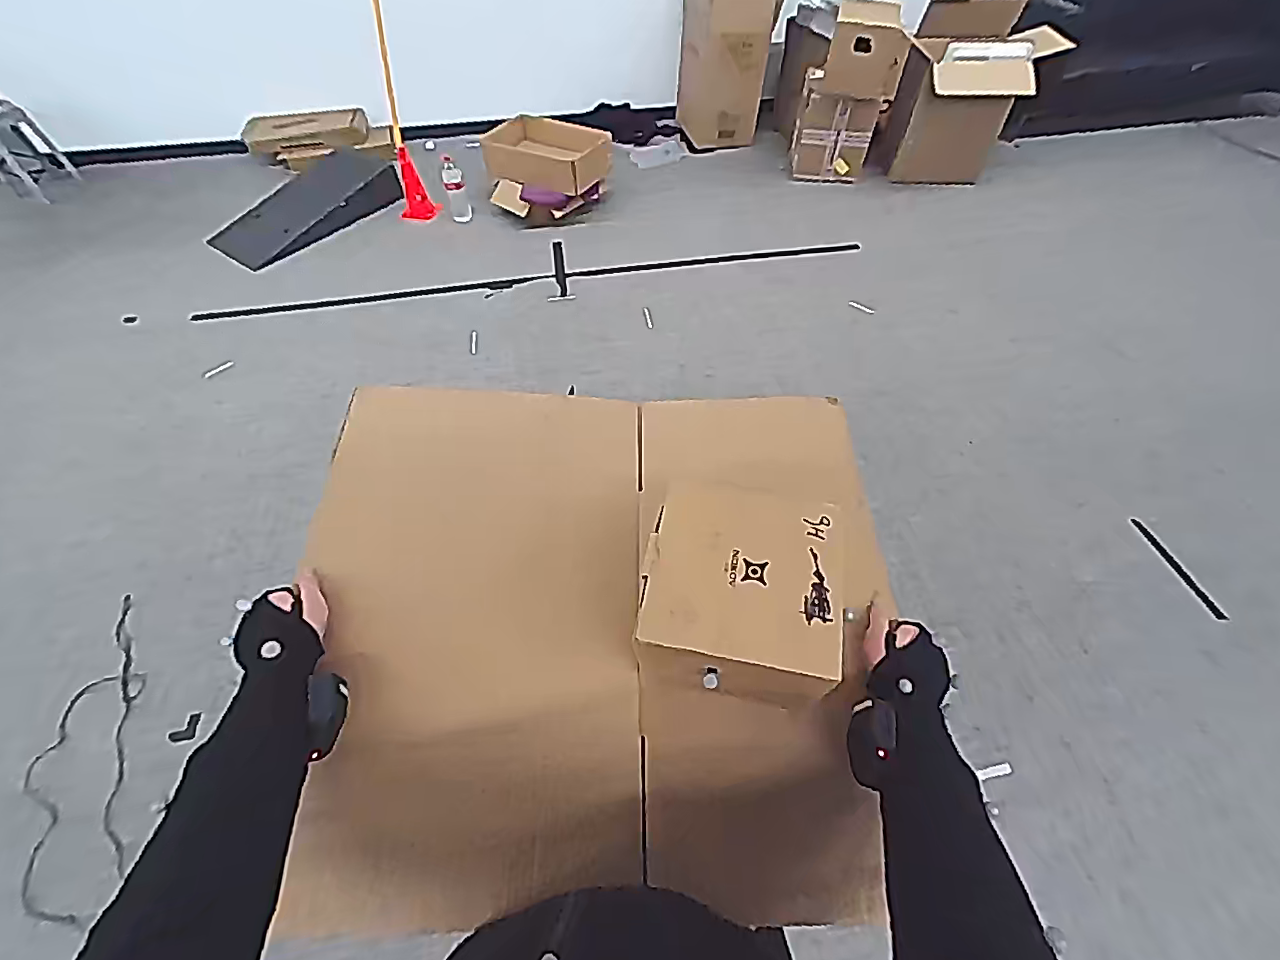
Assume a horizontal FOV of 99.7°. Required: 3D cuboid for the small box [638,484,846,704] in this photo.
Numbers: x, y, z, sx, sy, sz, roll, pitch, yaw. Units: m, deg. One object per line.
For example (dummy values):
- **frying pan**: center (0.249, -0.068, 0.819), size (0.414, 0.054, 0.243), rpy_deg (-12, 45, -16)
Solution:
- **small box**: center (0.106, 0.125, 0.568), size (0.179, 0.176, 0.168), rpy_deg (8, 60, 10)
